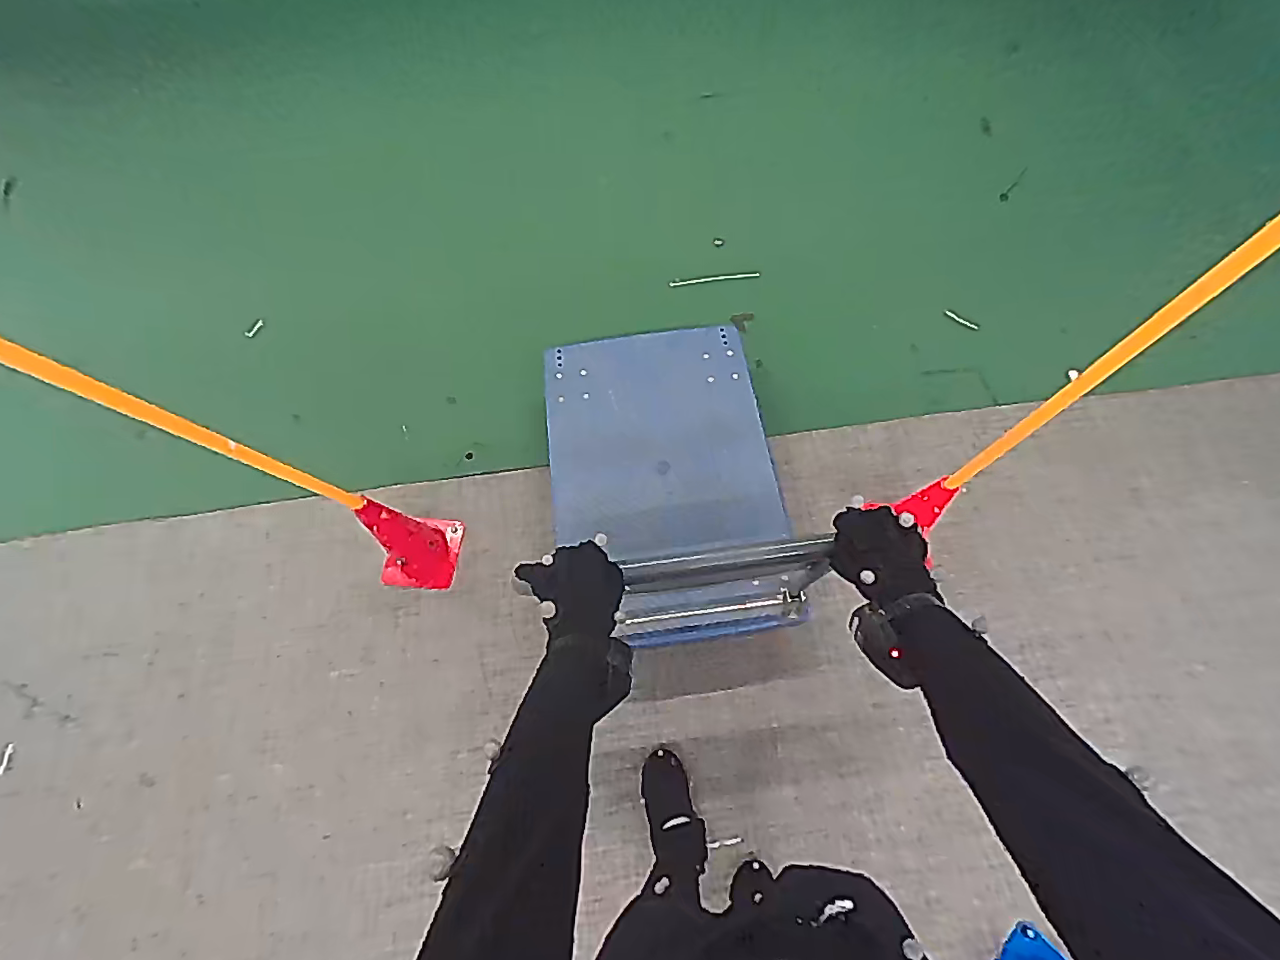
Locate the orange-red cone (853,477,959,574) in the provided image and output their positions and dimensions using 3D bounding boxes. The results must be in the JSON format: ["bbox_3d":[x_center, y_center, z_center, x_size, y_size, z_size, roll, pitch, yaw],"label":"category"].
[{"bbox_3d":[0.680,0.086,1.323,0.198,0.360,0.199,2,65,4],"label":"orange-red cone"}]
